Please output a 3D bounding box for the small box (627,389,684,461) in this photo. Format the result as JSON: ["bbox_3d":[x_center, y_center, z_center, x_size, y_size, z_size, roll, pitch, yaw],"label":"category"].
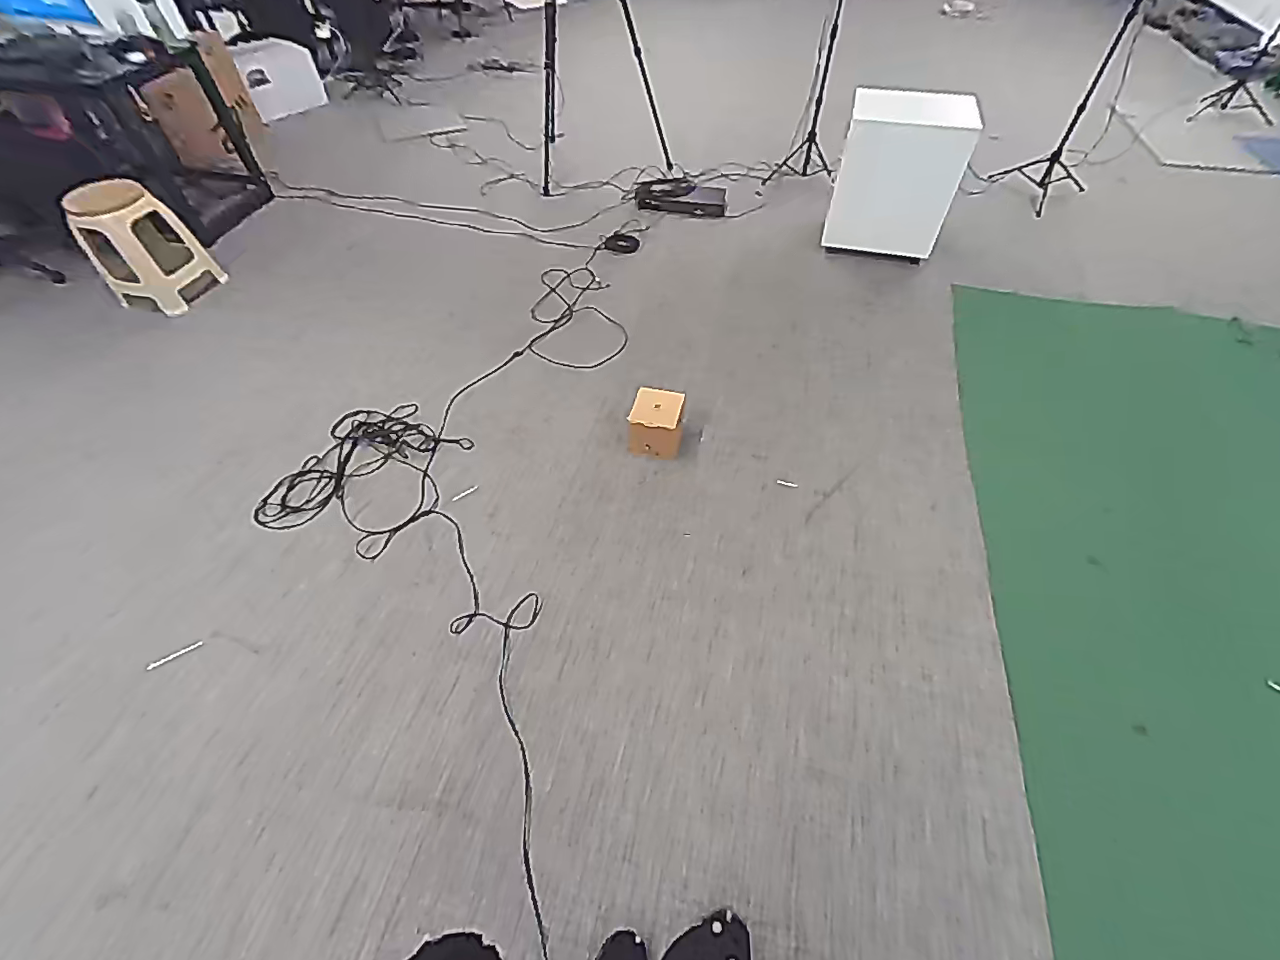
[{"bbox_3d":[0.055,-0.194,1.918,0.168,0.176,0.179,10,53,10],"label":"small box"}]
